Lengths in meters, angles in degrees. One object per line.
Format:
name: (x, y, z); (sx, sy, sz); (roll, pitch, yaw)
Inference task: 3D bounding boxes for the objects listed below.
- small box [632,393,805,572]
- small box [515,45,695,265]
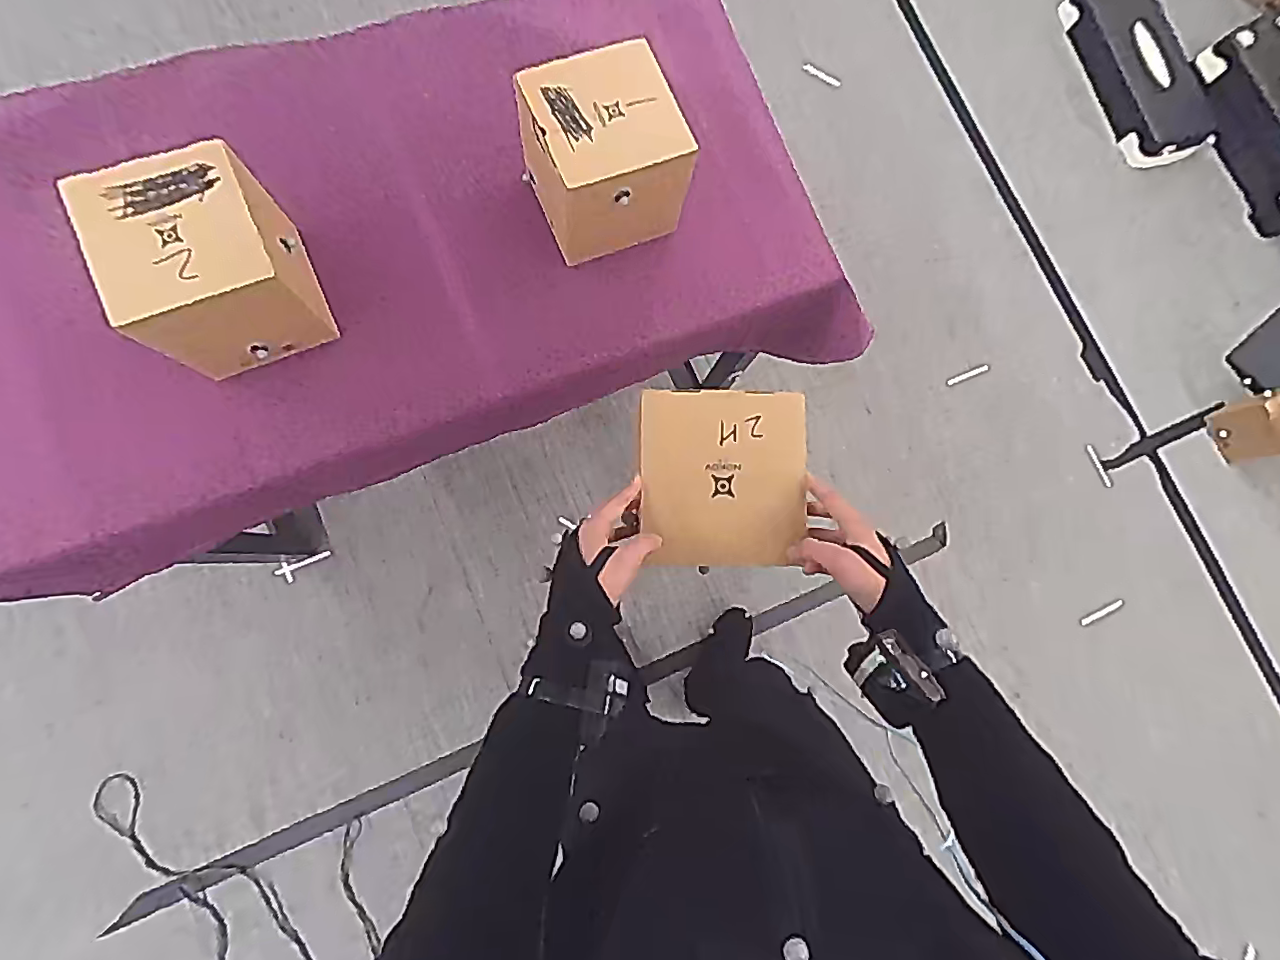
small box: (0.077, 0.007, 0.609); (0.168, 0.176, 0.179); (1, 85, -3)
small box: (-0.049, -0.421, 0.727); (0.179, 0.176, 0.168); (-23, 84, -10)
